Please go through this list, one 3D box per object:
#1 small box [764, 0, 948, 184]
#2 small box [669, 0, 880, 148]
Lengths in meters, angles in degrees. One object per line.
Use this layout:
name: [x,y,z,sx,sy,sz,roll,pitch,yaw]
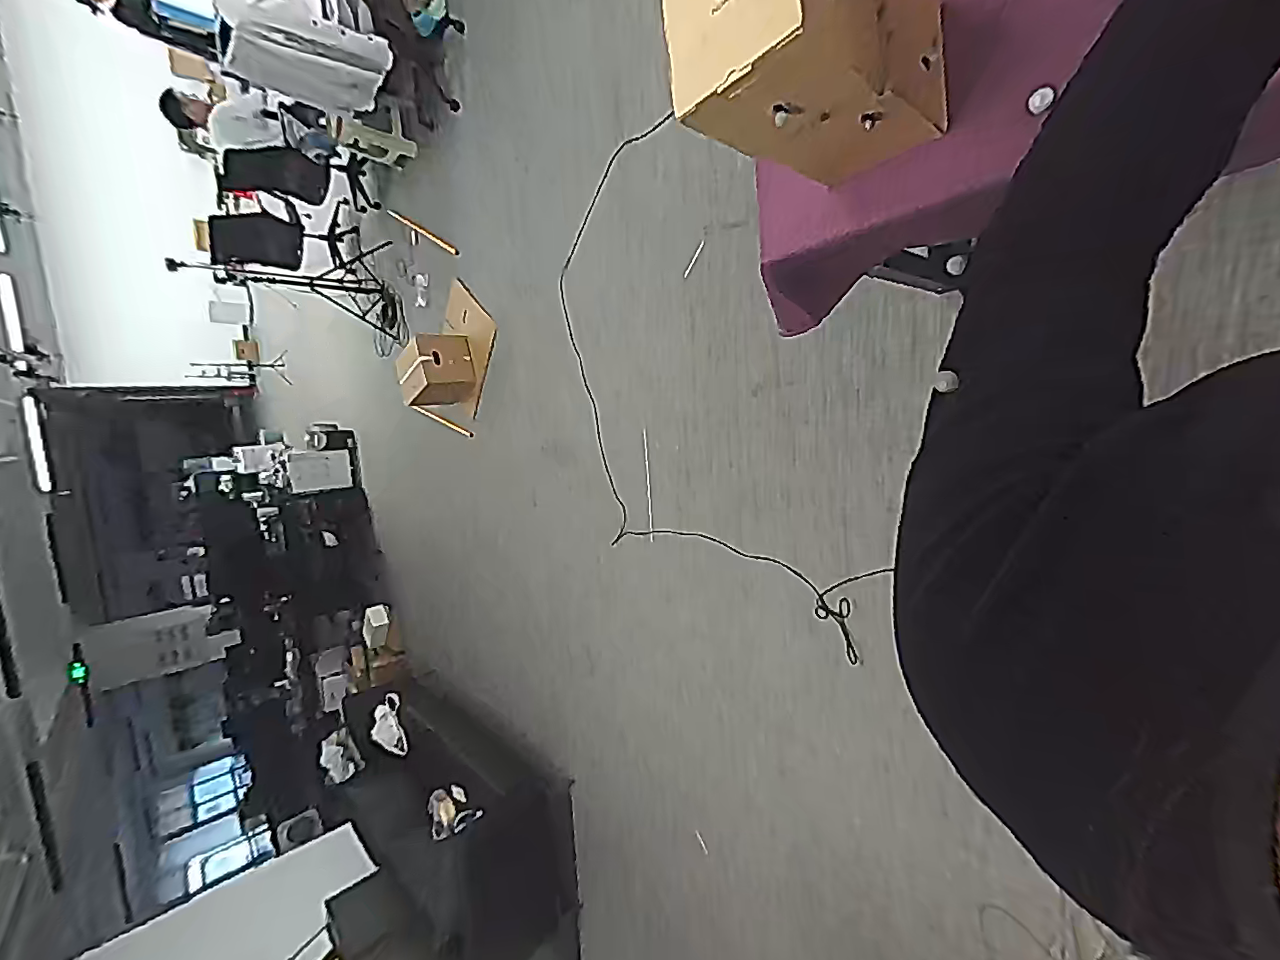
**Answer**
small box: [0.279,-0.522,0.713,0.179,0.176,0.168,-2,95,48]
small box: [0.153,-0.507,0.609,0.168,0.176,0.179,-2,95,48]
